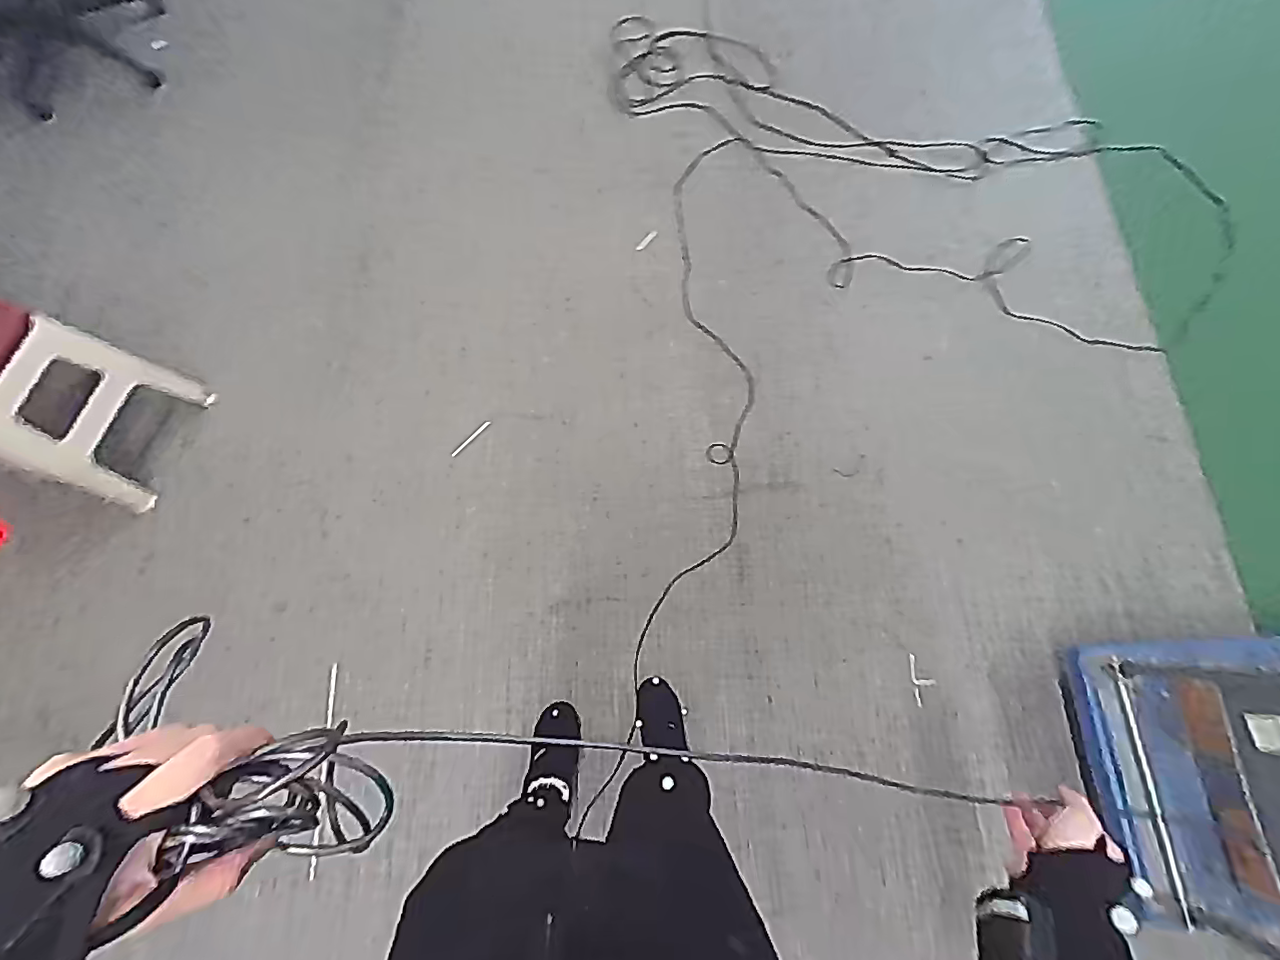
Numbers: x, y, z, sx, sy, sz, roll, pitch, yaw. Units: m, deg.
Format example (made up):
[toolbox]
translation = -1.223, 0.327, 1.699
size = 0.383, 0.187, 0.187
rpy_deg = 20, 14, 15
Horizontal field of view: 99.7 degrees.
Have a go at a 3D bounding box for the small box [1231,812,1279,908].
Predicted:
[small box]
translation = 1.384, 0.784, 1.091
size = 0.179, 0.176, 0.168
rpy_deg = -1, 73, -1
